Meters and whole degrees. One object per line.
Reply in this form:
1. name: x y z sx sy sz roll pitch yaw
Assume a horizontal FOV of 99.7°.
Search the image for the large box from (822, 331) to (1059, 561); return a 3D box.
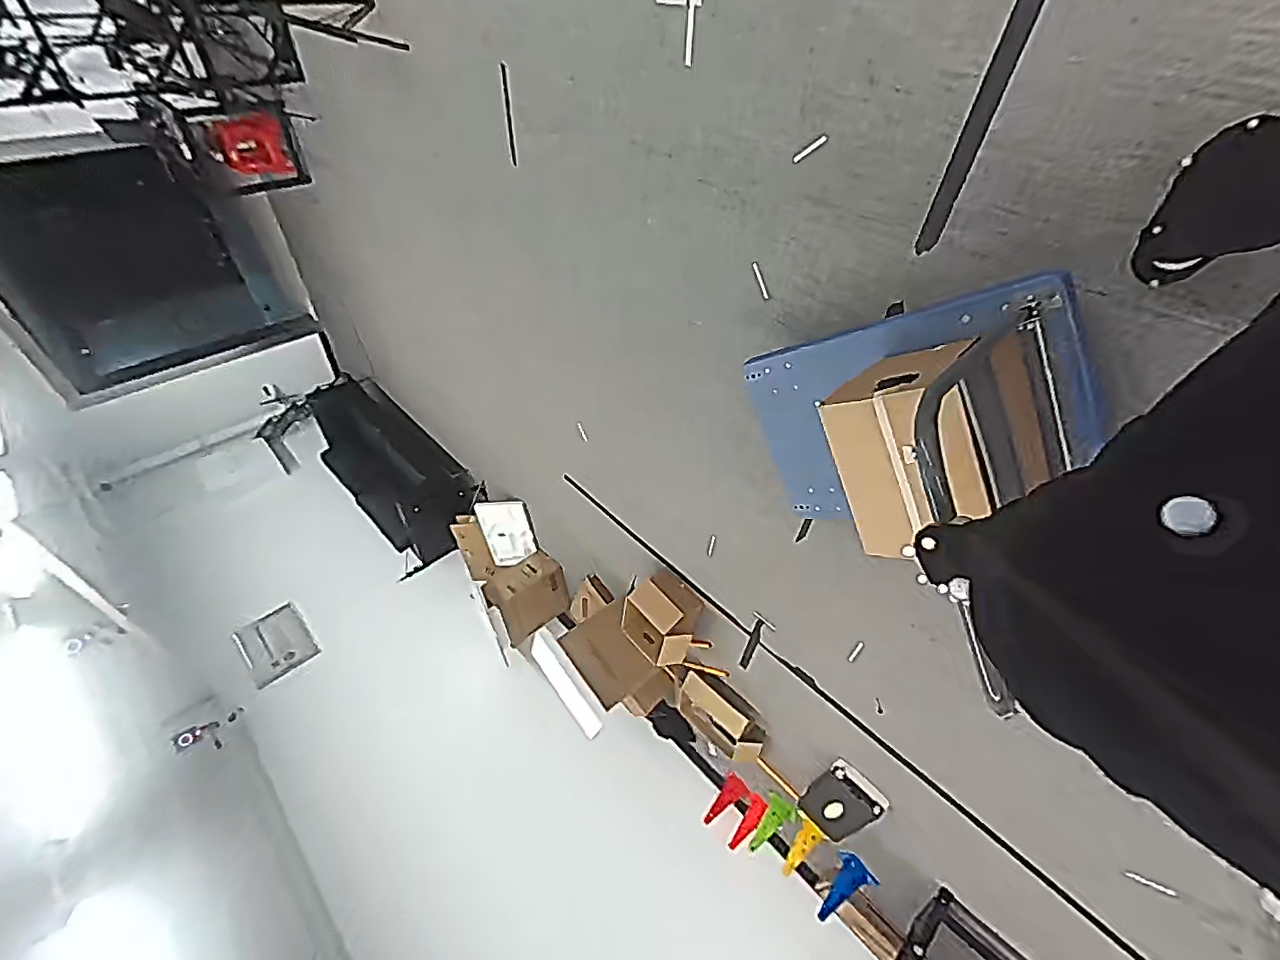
1. large box: 0.688 -0.073 1.236 0.320 0.320 0.408 -3 114 55
